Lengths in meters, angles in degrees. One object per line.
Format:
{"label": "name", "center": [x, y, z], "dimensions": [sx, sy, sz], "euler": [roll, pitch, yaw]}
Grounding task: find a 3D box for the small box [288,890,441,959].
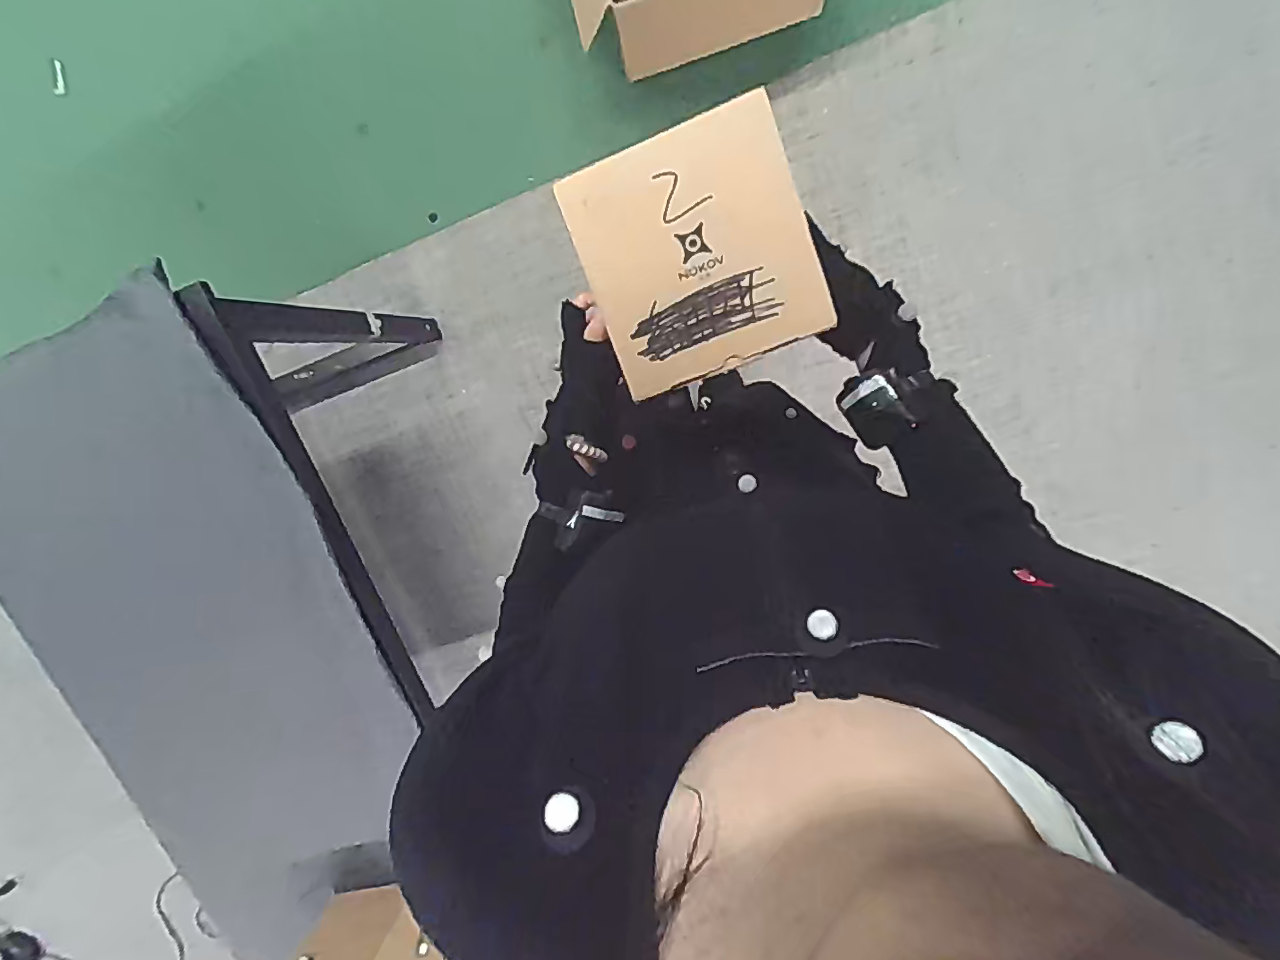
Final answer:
{"label": "small box", "center": [-0.467, 0.825, 0.893], "dimensions": [0.179, 0.176, 0.168], "euler": [-16, 101, 10]}
